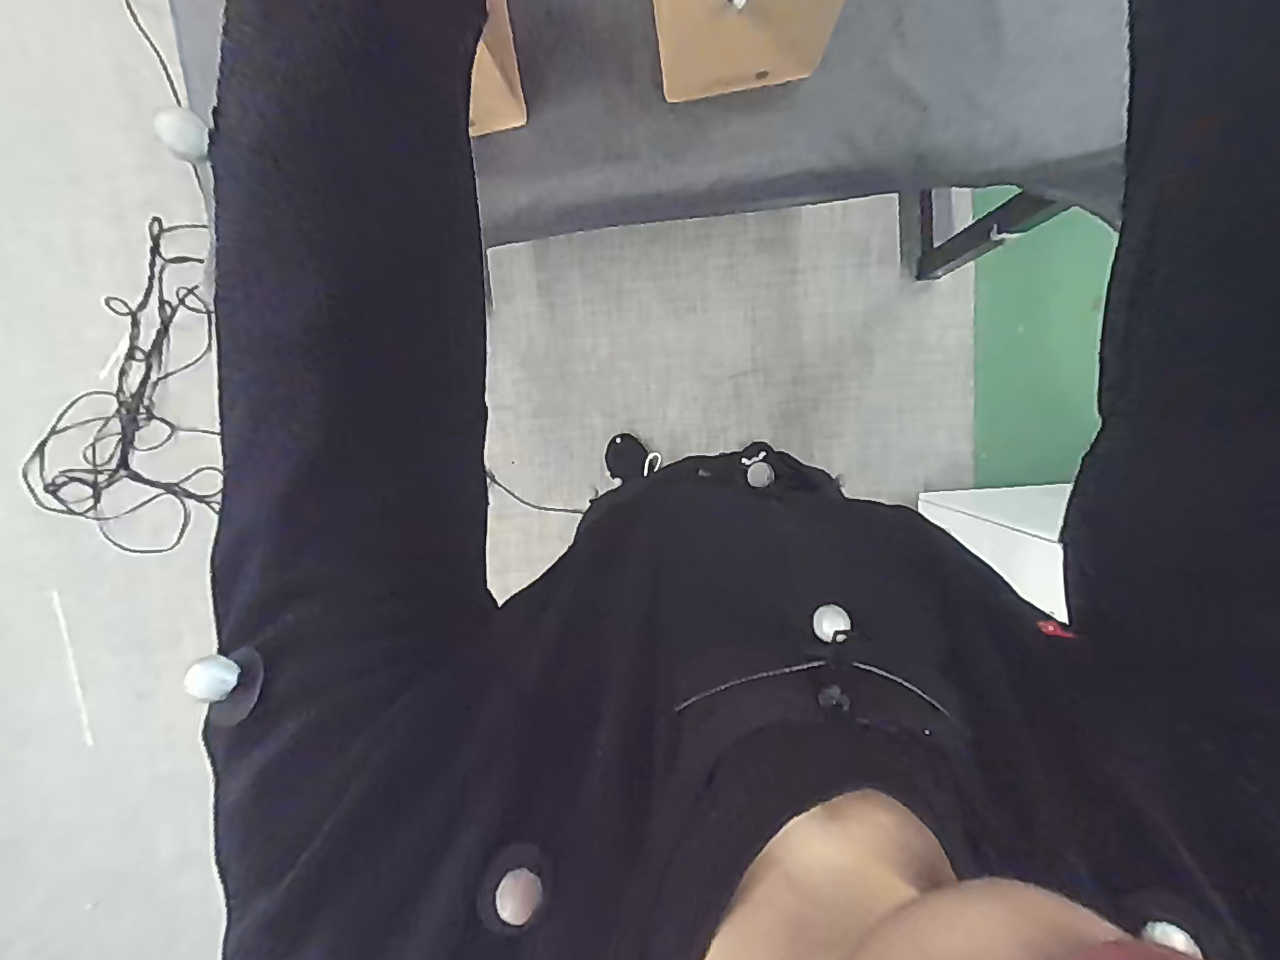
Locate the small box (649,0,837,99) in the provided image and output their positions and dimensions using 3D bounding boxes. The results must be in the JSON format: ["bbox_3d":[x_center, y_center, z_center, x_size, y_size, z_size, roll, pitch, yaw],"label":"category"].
[{"bbox_3d":[0.088,-0.509,0.508,0.168,0.176,0.179,-8,95,4],"label":"small box"}]

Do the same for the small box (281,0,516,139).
[{"bbox_3d":[-0.232,-0.466,0.528,0.168,0.176,0.179,-10,95,4],"label":"small box"}]
